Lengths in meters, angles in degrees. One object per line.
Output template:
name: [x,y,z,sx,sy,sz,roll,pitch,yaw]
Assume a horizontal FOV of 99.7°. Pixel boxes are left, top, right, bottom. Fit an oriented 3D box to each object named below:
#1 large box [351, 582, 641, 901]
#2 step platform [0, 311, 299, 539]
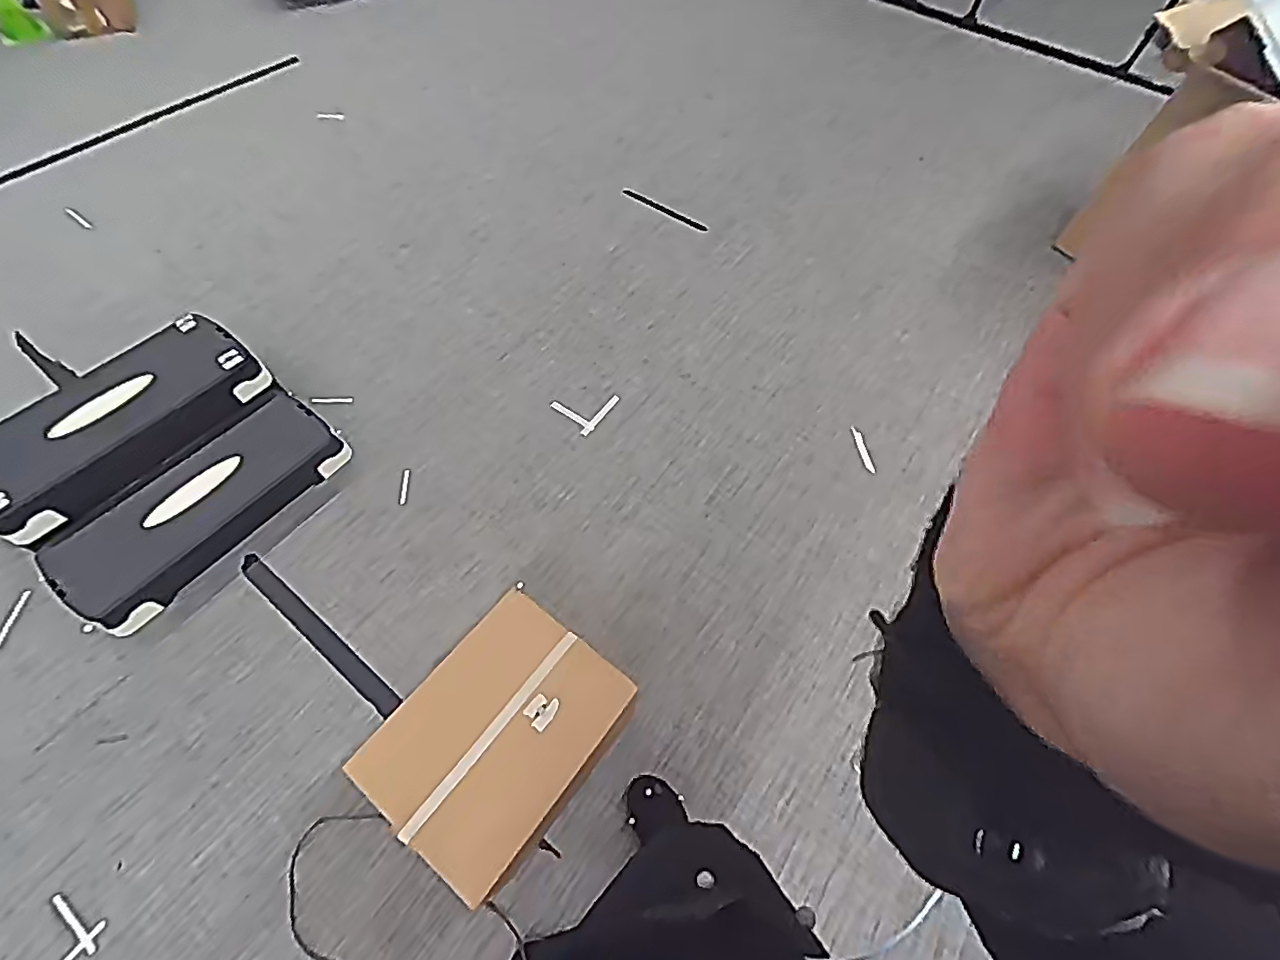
large box: [-0.241,0.486,1.043,0.320,0.320,0.408,35,63,16]
step platform: [-1.311,-0.165,1.425,0.286,0.204,0.684,40,65,18]
